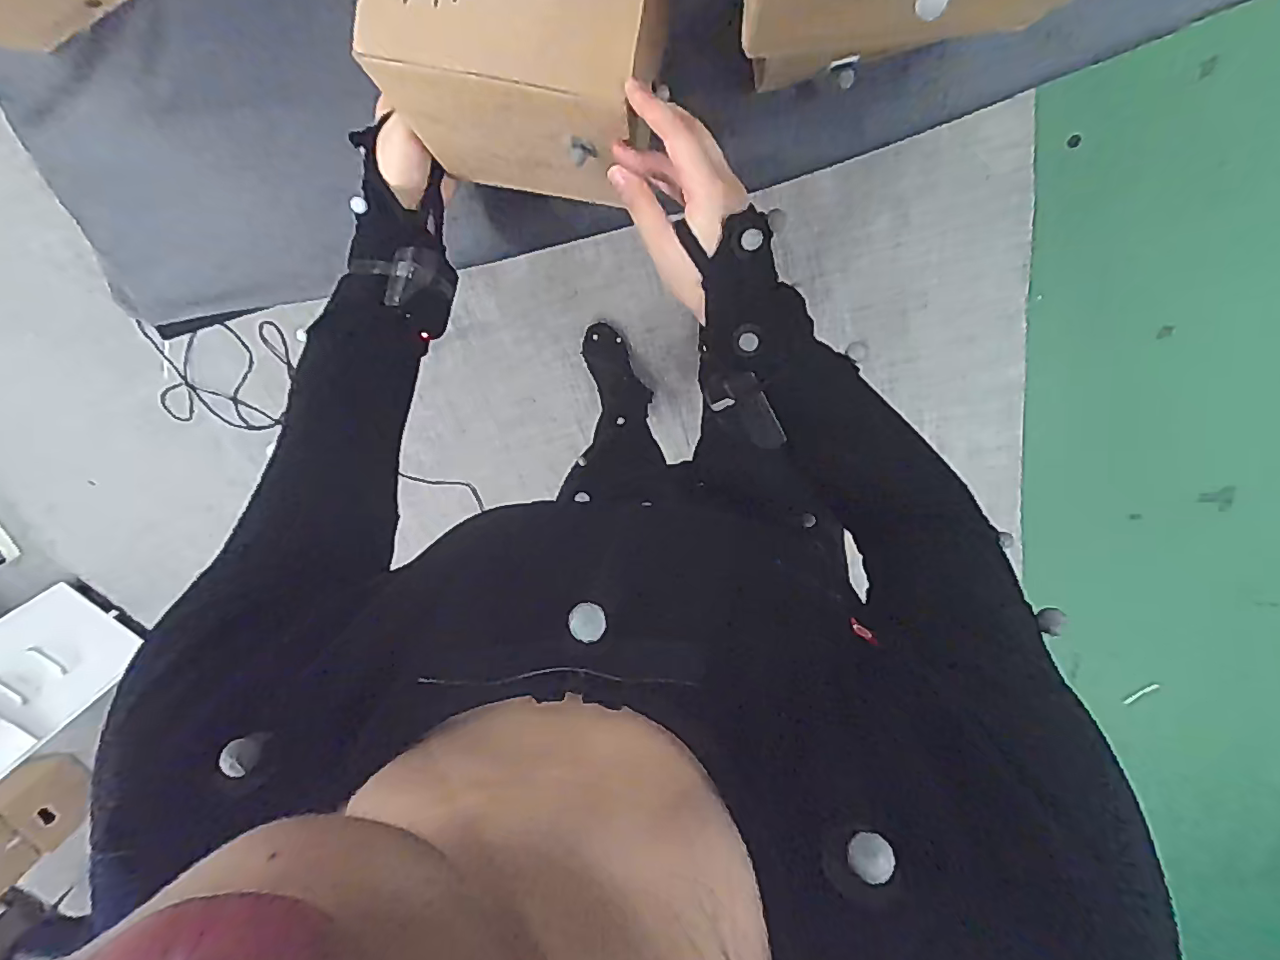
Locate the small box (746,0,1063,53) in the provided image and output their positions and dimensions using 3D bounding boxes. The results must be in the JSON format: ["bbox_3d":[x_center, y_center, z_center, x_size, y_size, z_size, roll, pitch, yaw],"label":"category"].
[{"bbox_3d":[0.142,-0.316,0.241,0.179,0.176,0.168,1,118,9],"label":"small box"}]

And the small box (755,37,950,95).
[{"bbox_3d":[0.159,-0.404,0.377,0.168,0.176,0.179,-9,117,14],"label":"small box"}]

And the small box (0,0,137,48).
[{"bbox_3d":[-0.570,-0.492,0.429,0.168,0.176,0.179,-14,117,14],"label":"small box"}]
